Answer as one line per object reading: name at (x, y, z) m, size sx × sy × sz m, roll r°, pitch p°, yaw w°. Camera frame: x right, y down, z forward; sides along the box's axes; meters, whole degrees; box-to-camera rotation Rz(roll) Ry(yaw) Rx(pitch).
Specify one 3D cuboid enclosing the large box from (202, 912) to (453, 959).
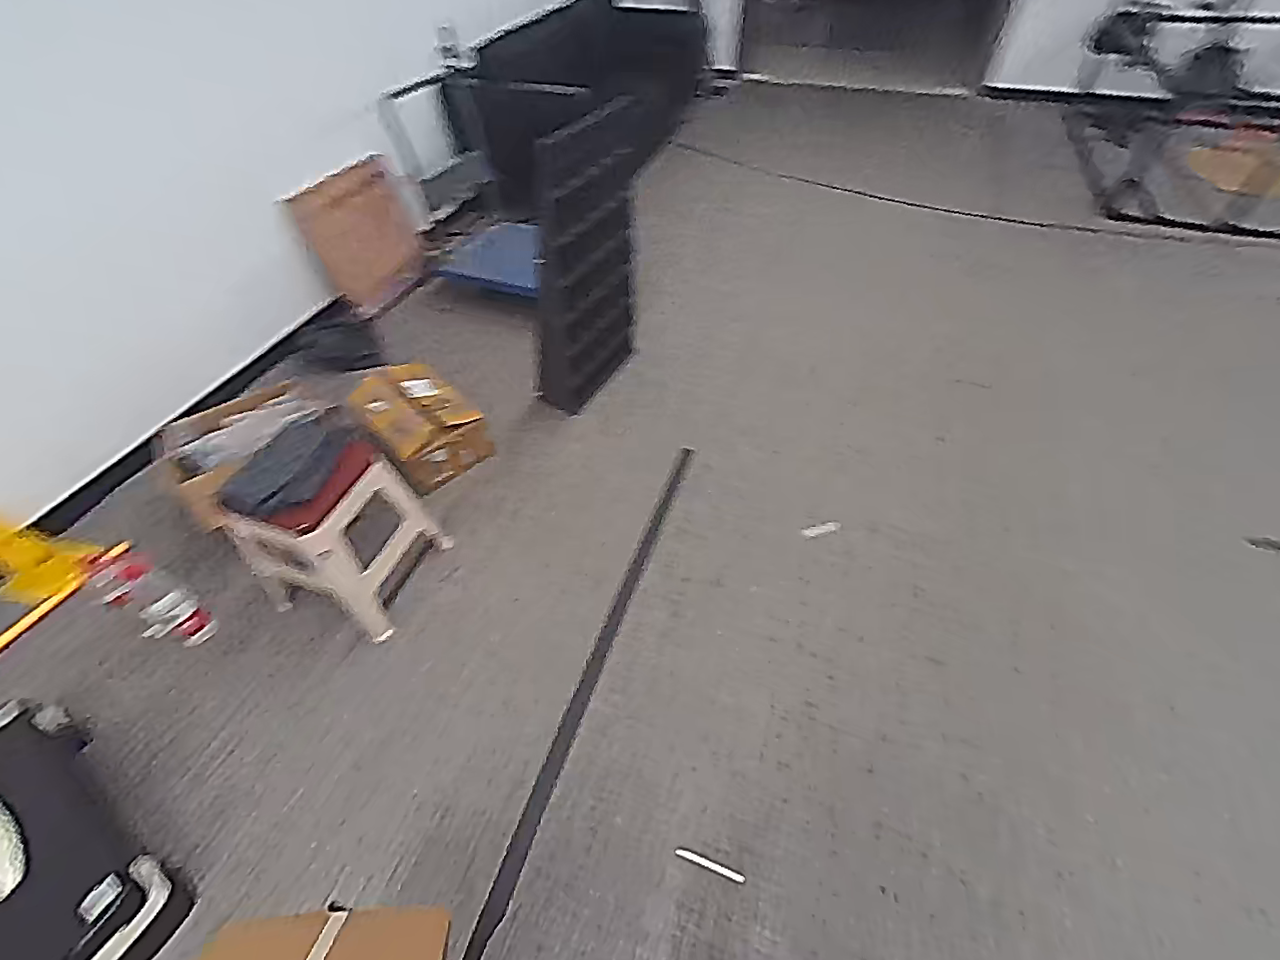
large box at (-0.408, 0.765, 0.595) m, size 0.320 × 0.408 × 0.320 m, roll 6°, pitch 78°, yaw -11°
